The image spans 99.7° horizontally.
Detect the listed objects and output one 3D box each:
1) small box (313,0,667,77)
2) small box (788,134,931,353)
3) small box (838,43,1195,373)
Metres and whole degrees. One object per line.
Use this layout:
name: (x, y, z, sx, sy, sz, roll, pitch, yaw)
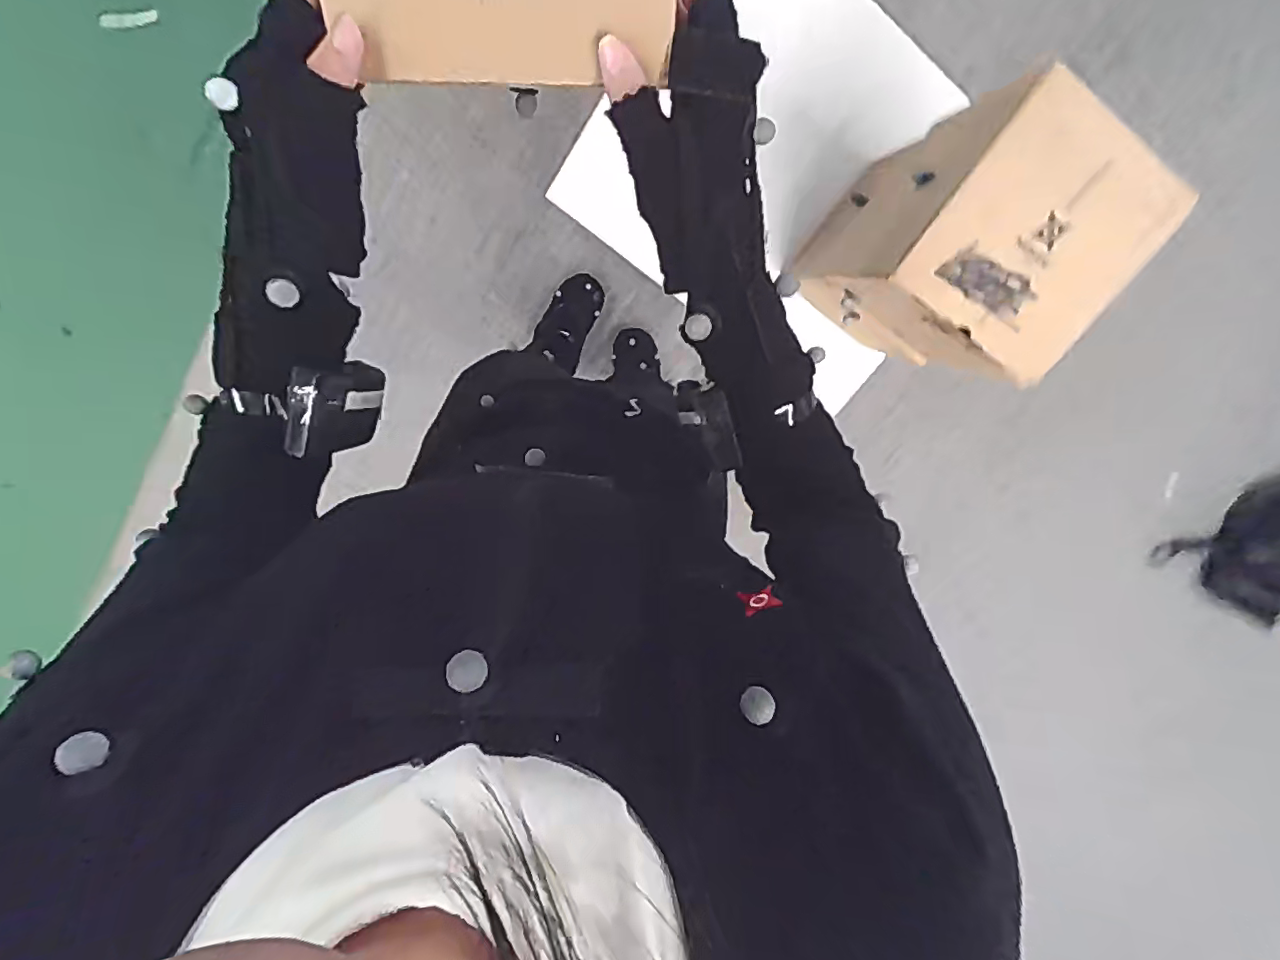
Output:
small box: (-0.070, -0.318, 0.277, 0.168, 0.176, 0.179, 0, 128, 0)
small box: (0.307, -0.282, 0.649, 0.168, 0.176, 0.179, 34, 108, -13)
small box: (0.308, -0.227, 0.493, 0.168, 0.176, 0.179, 32, 108, -13)
